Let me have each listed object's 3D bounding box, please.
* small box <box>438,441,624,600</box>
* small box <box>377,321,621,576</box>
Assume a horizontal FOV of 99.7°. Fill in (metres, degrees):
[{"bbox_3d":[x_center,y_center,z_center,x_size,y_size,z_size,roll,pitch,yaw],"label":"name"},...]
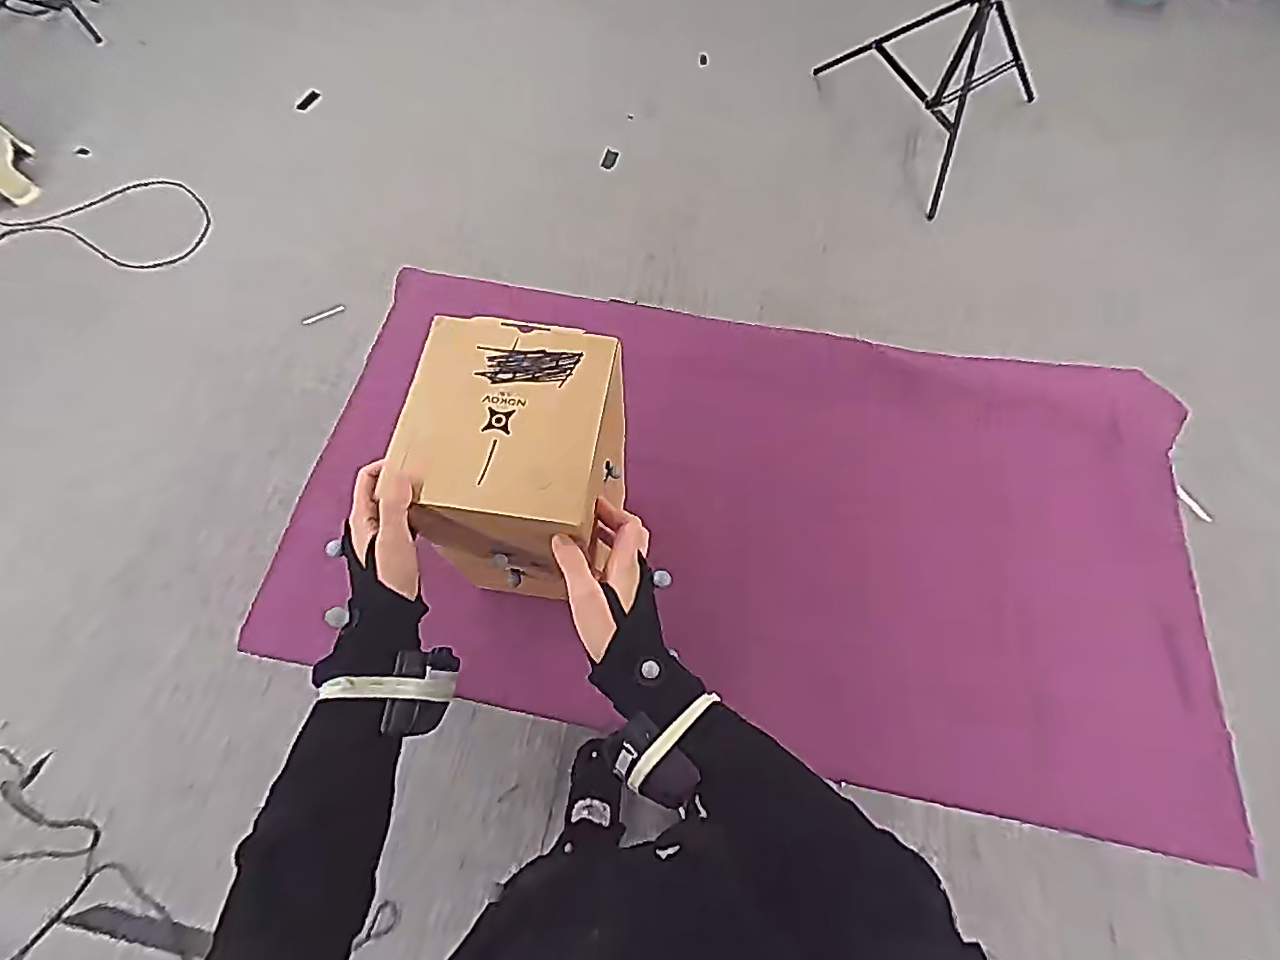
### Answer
[{"bbox_3d":[-0.117,0.045,0.668,0.179,0.176,0.168,8,67,3],"label":"small box"},{"bbox_3d":[-0.112,-0.021,0.518,0.168,0.176,0.179,8,67,4],"label":"small box"}]
